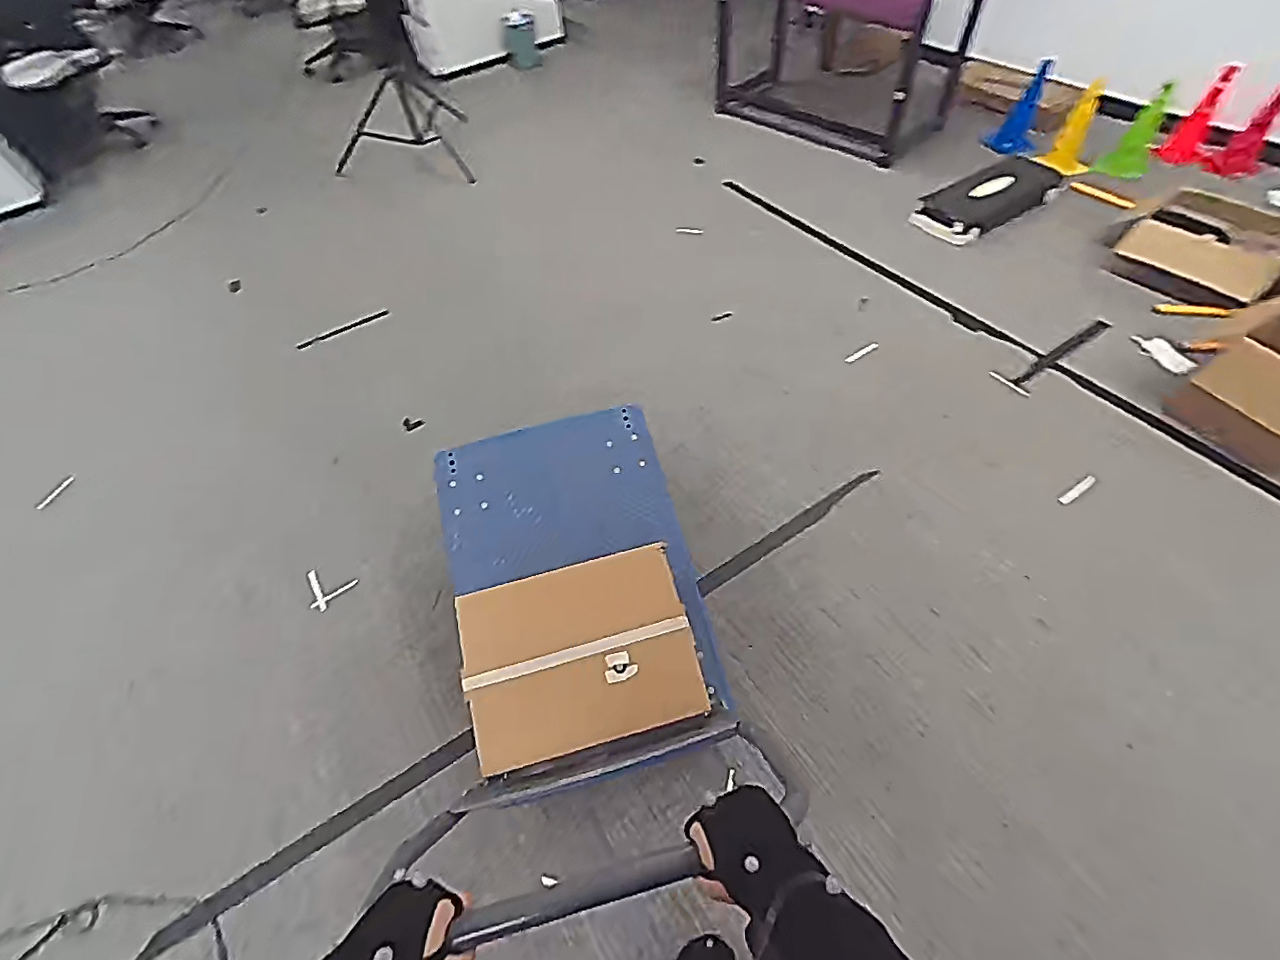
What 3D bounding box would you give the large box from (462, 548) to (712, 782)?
[{"bbox_3d":[-0.106,0.377,1.120,0.408,0.320,0.320,-15,70,-6],"label":"large box"}]
